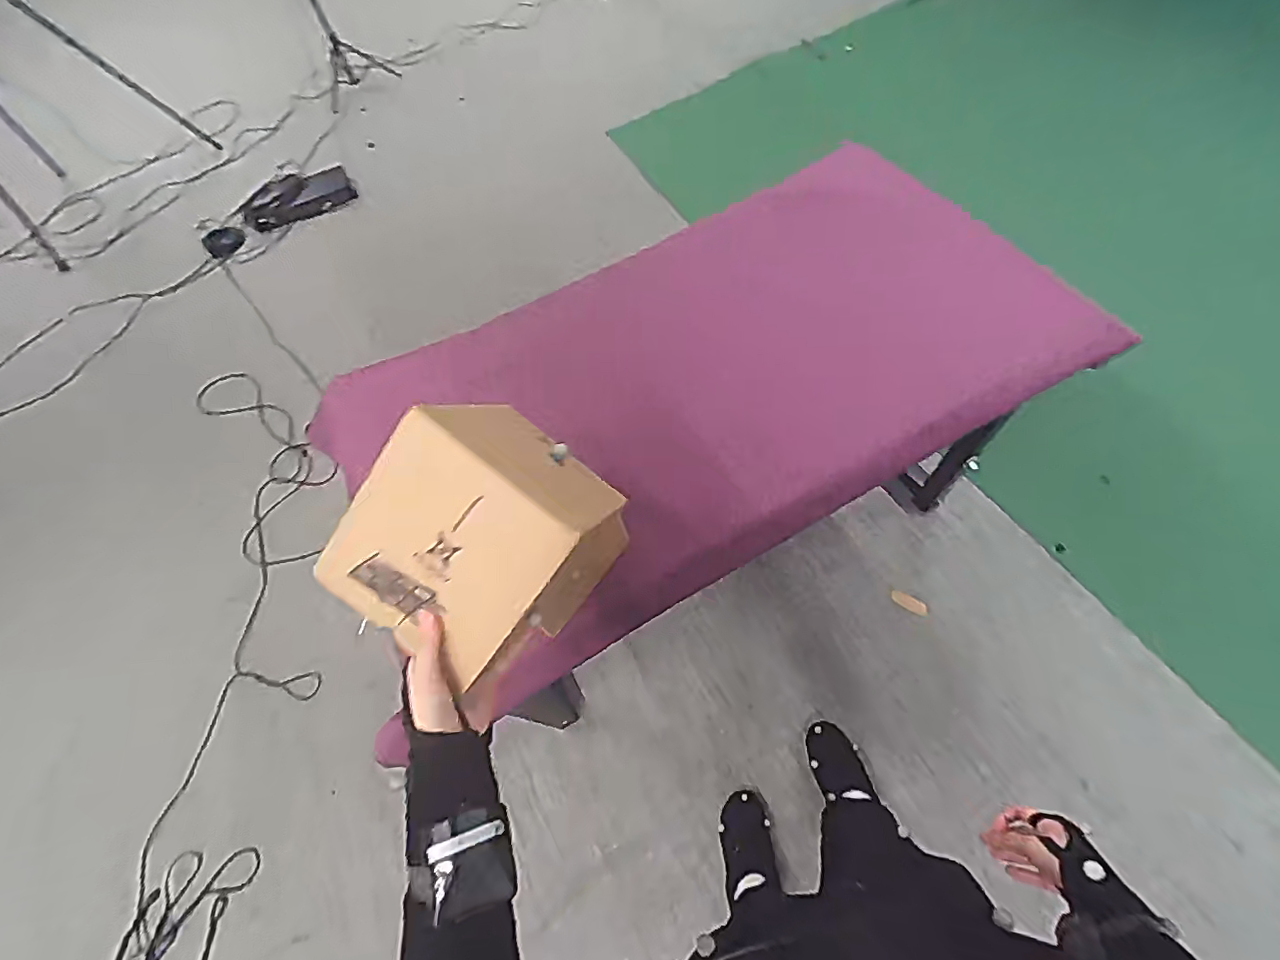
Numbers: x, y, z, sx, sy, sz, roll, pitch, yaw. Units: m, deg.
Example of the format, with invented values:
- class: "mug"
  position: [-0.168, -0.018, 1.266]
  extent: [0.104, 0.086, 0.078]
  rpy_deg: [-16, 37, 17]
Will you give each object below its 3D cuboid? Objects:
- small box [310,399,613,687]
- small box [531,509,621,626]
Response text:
- class: "small box"
  position: [-0.147, 0.043, 0.500]
  extent: [0.168, 0.176, 0.179]
  rpy_deg: [38, 104, 4]
- class: "small box"
  position: [-0.143, 0.069, 0.722]
  extent: [0.168, 0.176, 0.179]
  rpy_deg: [31, 70, 22]
